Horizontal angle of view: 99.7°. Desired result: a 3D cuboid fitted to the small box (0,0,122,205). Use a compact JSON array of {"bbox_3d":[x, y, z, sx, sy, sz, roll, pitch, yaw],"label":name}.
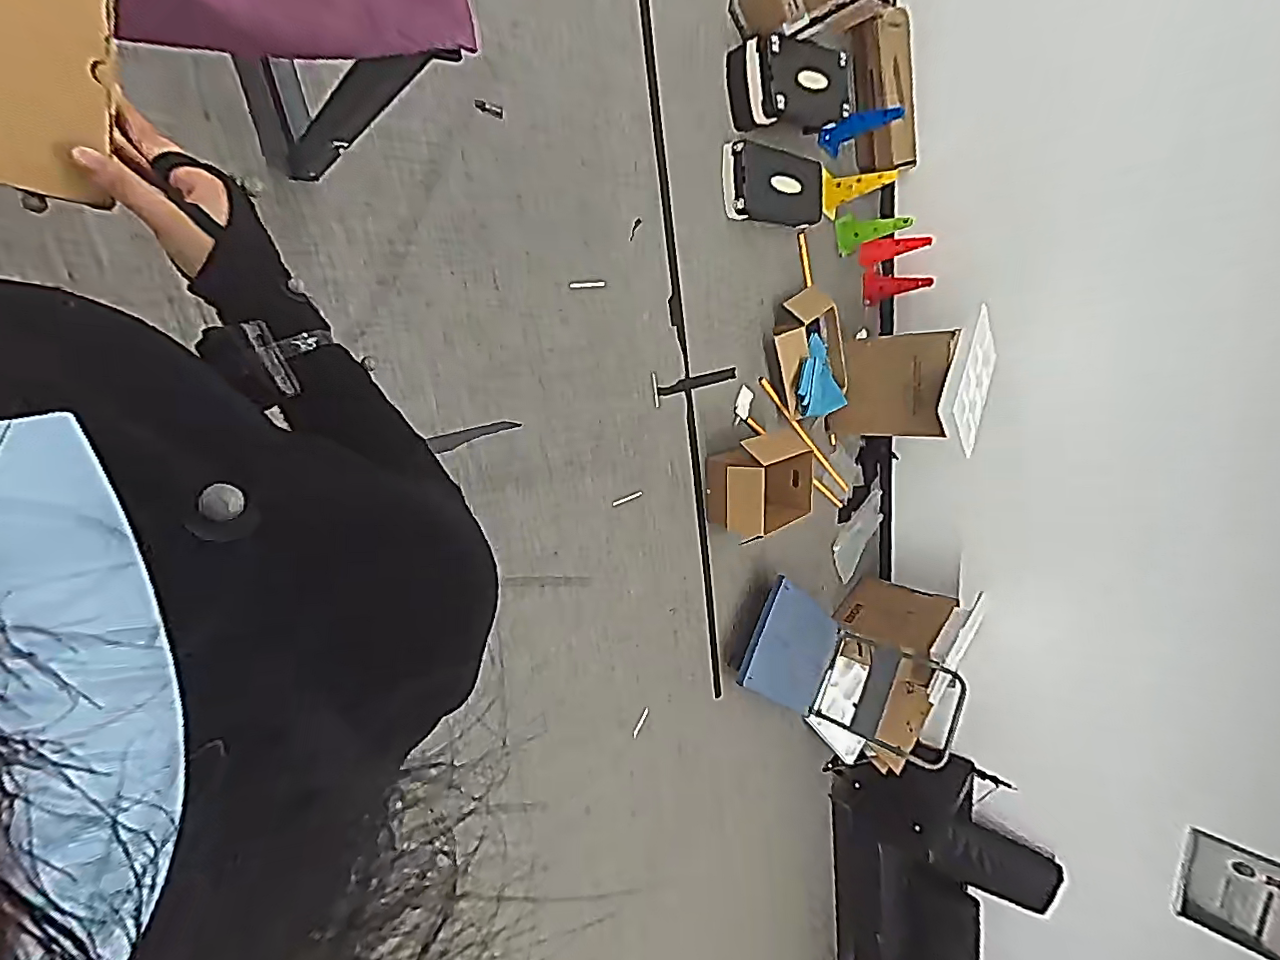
[{"bbox_3d":[-0.451,-0.292,0.341,0.179,0.176,0.168,-2,116,-46],"label":"small box"}]
